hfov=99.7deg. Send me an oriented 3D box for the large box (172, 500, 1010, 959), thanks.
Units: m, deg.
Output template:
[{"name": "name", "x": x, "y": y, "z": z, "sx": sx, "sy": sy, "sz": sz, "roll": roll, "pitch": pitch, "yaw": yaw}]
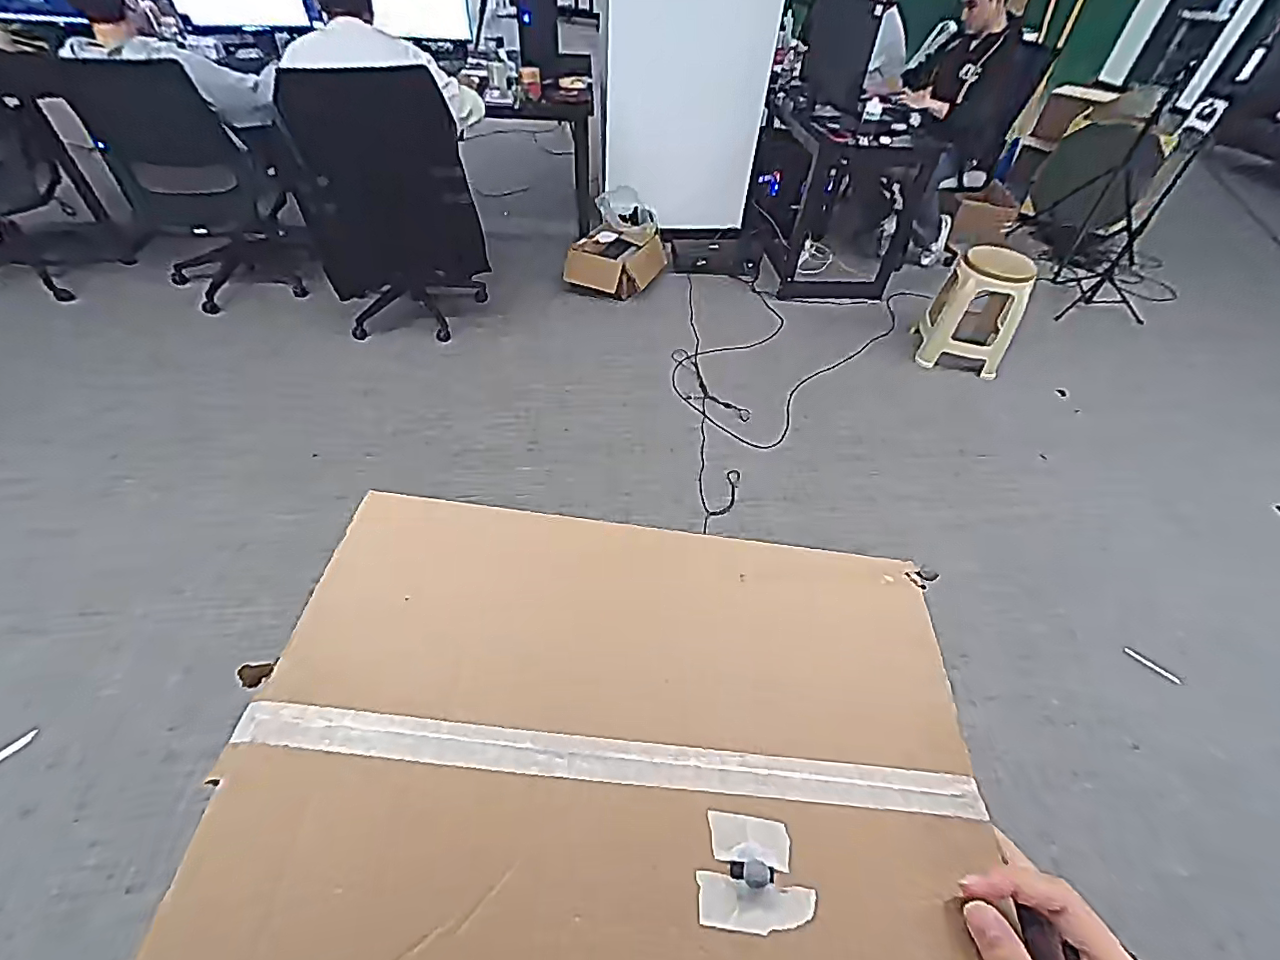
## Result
[{"name": "large box", "x": -0.023, "y": 0.249, "z": 0.428, "sx": 0.408, "sy": 0.320, "sz": 0.320, "roll": 9, "pitch": 52, "yaw": -3}]
